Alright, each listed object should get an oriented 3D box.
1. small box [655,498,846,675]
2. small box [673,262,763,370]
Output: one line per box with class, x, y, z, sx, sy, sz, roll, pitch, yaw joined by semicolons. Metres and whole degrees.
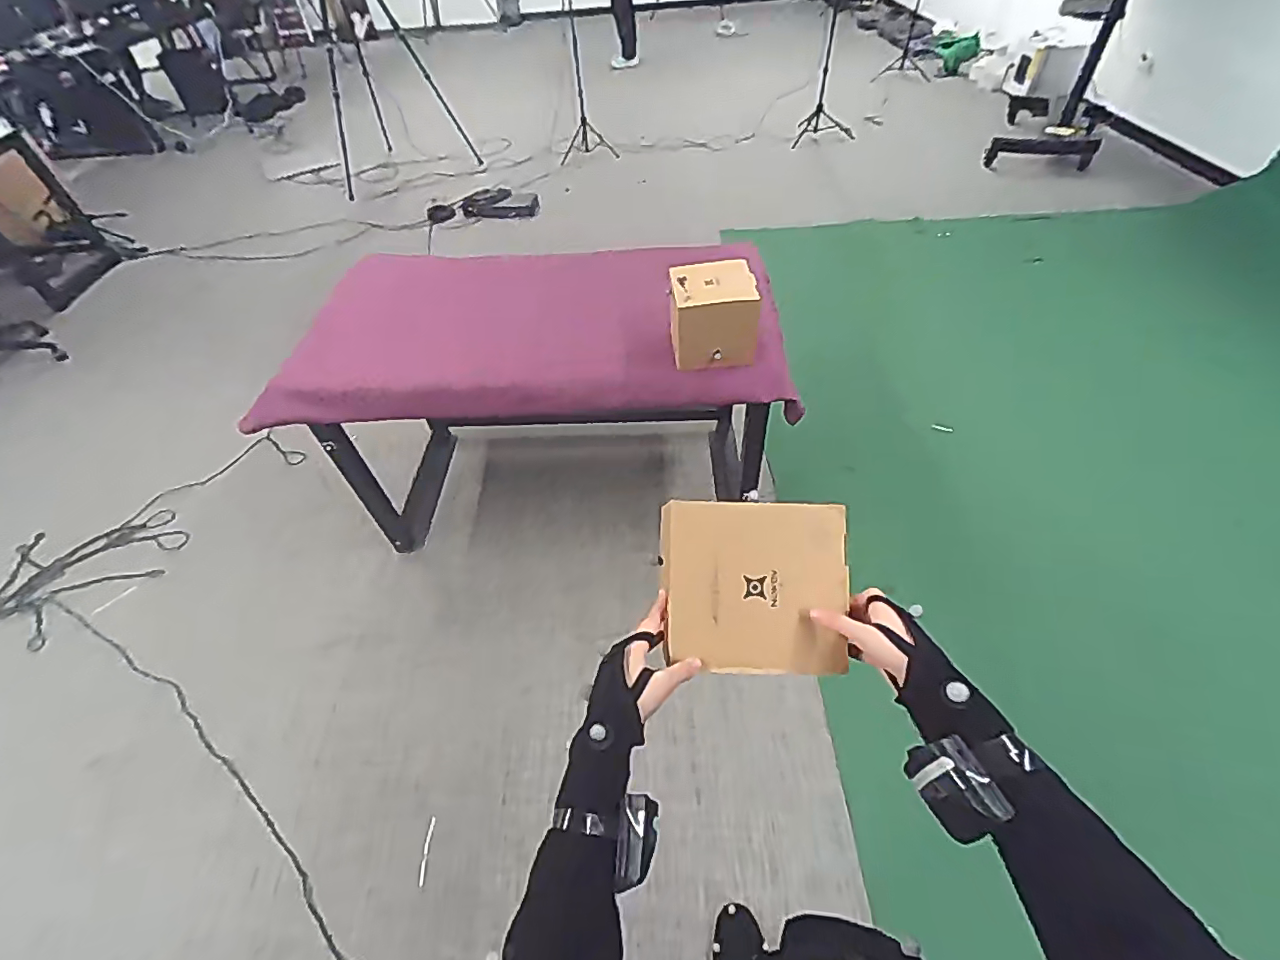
small box;0.110;0.110;0.600;0.179;0.176;0.168;2;84;0
small box;0.167;-0.366;1.218;0.179;0.176;0.168;-5;49;1
